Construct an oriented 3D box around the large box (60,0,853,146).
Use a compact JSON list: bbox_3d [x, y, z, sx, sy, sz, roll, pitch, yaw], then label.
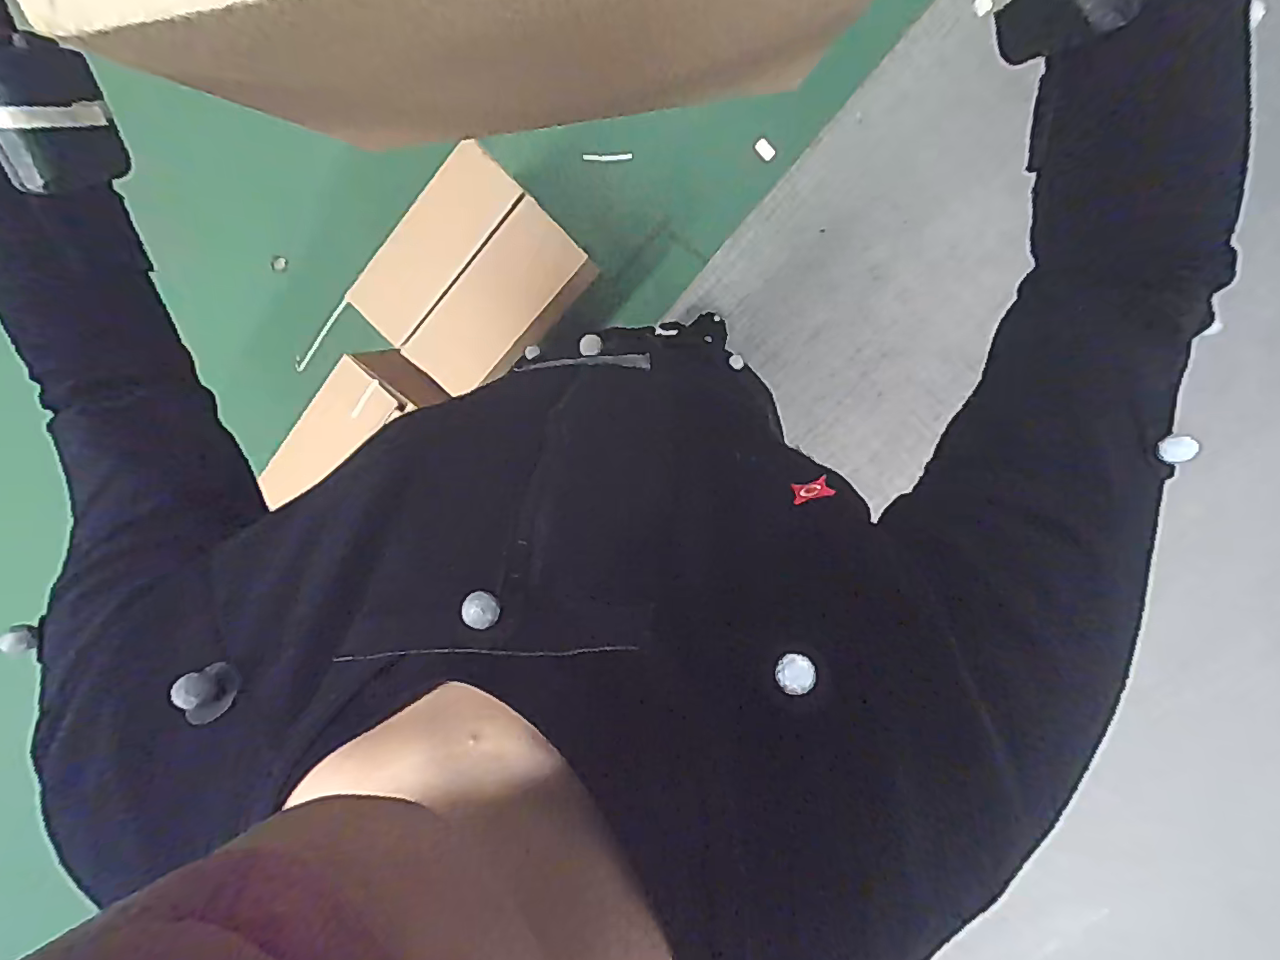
[{"bbox_3d":[-0.075,-0.420,0.302,0.408,0.320,0.320,-7,113,3],"label":"large box"}]
